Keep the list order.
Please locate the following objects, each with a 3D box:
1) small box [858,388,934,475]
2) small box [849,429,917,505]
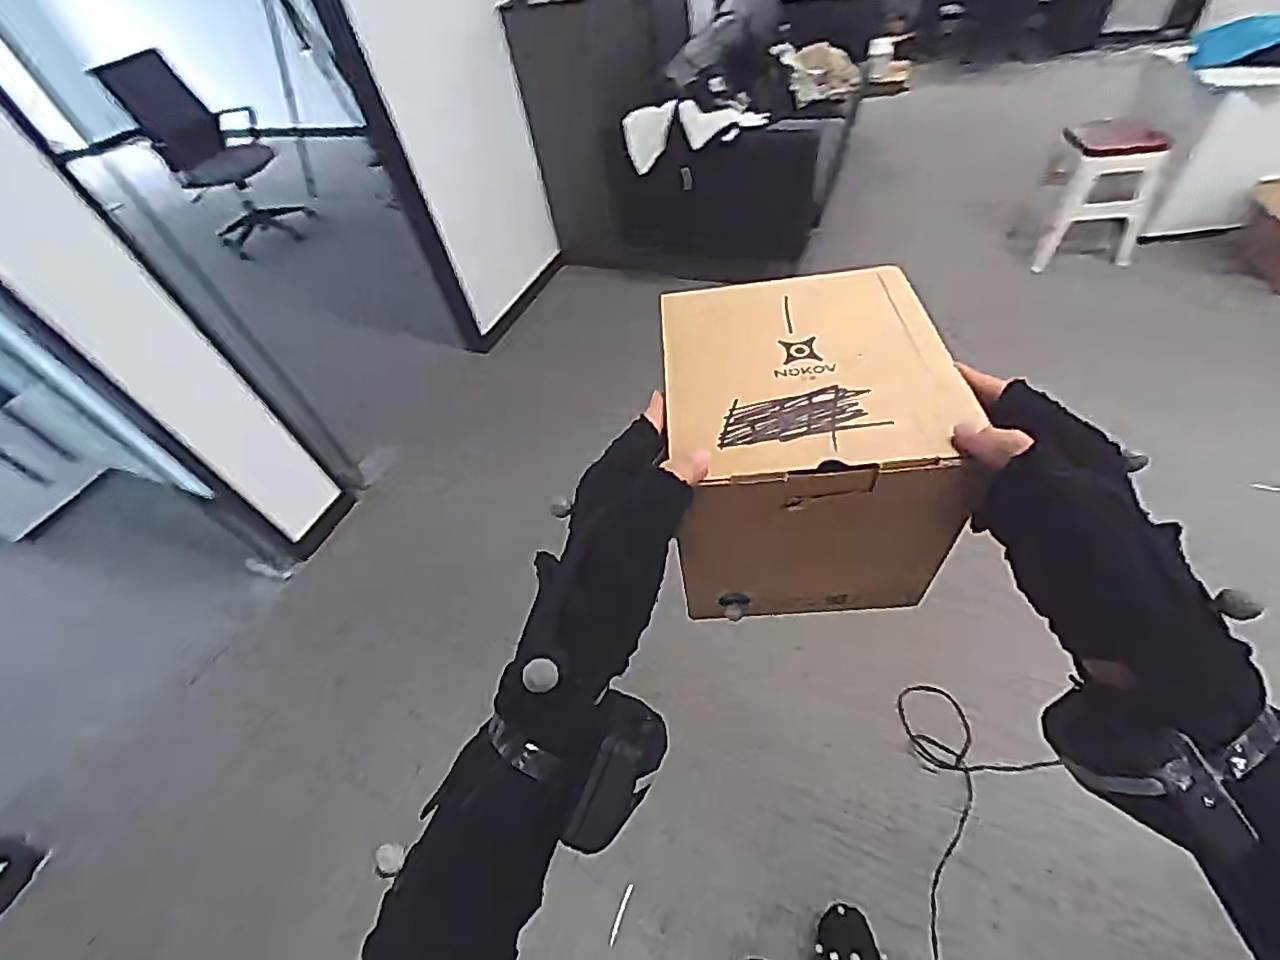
[{"bbox_3d":[0.759,-0.144,1.613,0.168,0.176,0.179,13,53,20],"label":"small box"},{"bbox_3d":[0.781,-0.039,1.737,0.179,0.176,0.168,13,54,20],"label":"small box"}]
